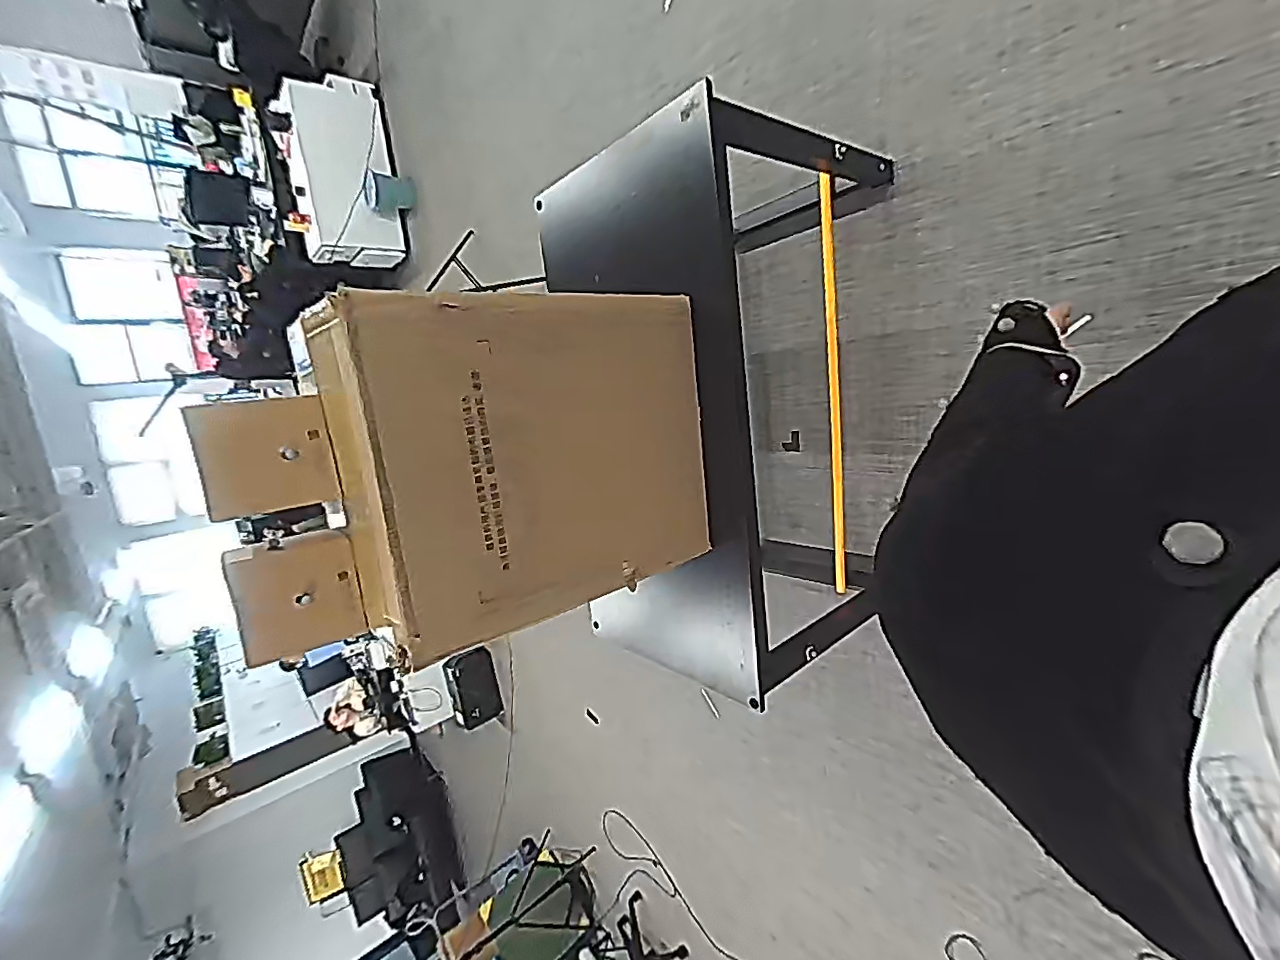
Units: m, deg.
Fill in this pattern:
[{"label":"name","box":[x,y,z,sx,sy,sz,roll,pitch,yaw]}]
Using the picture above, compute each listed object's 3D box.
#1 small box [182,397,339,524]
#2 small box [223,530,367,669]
[{"label":"small box","box":[-0.592,-0.036,0.856,0.179,0.176,0.168,3,104,53]},{"label":"small box","box":[-0.570,0.186,0.902,0.179,0.176,0.168,0,100,52]}]
